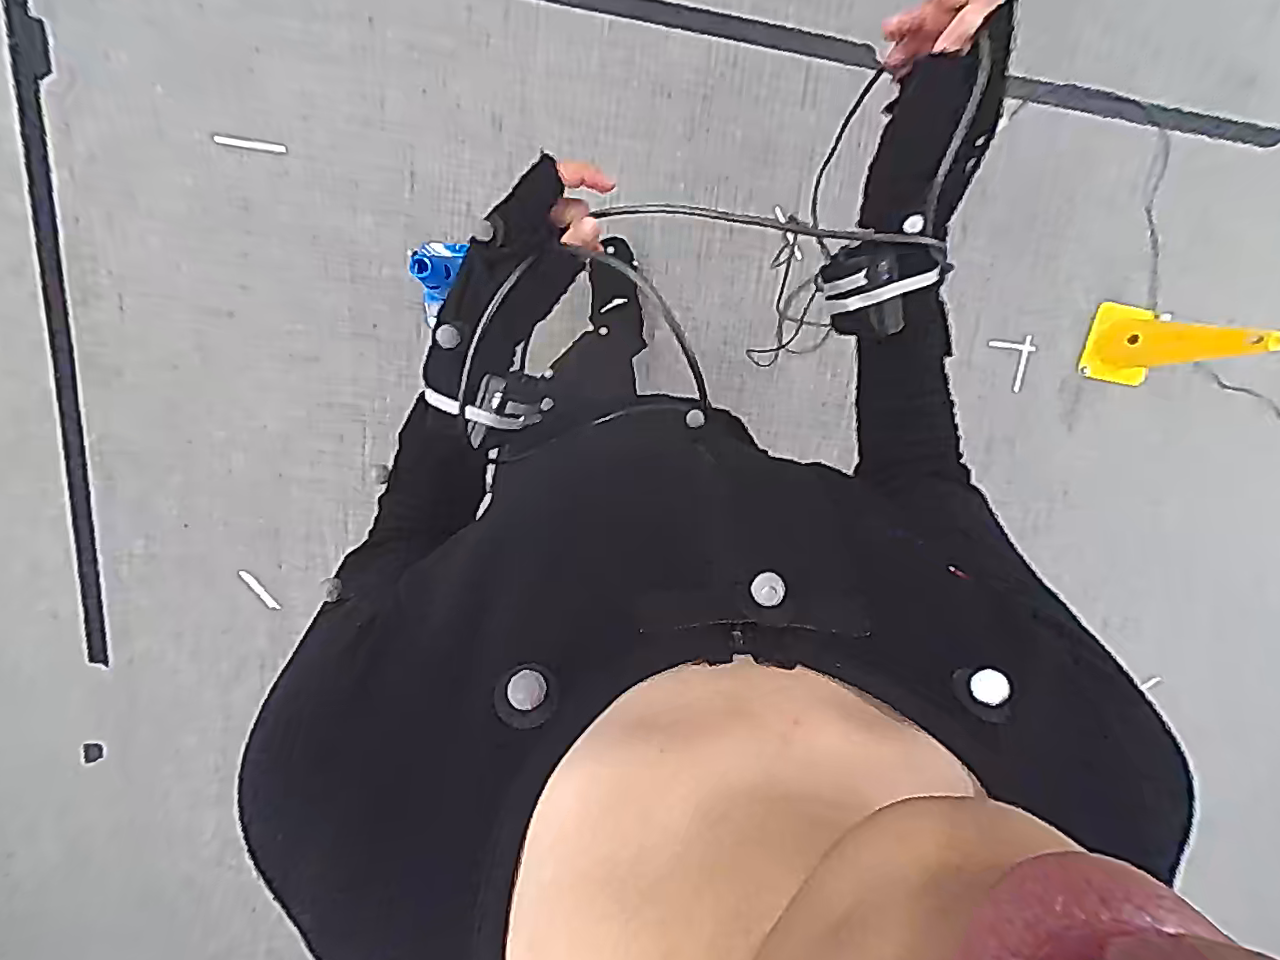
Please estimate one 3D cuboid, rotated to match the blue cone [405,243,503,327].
[{"bbox_3d":[-0.416,-0.434,1.149,0.193,0.380,0.192,1,103,-4],"label":"blue cone"}]
